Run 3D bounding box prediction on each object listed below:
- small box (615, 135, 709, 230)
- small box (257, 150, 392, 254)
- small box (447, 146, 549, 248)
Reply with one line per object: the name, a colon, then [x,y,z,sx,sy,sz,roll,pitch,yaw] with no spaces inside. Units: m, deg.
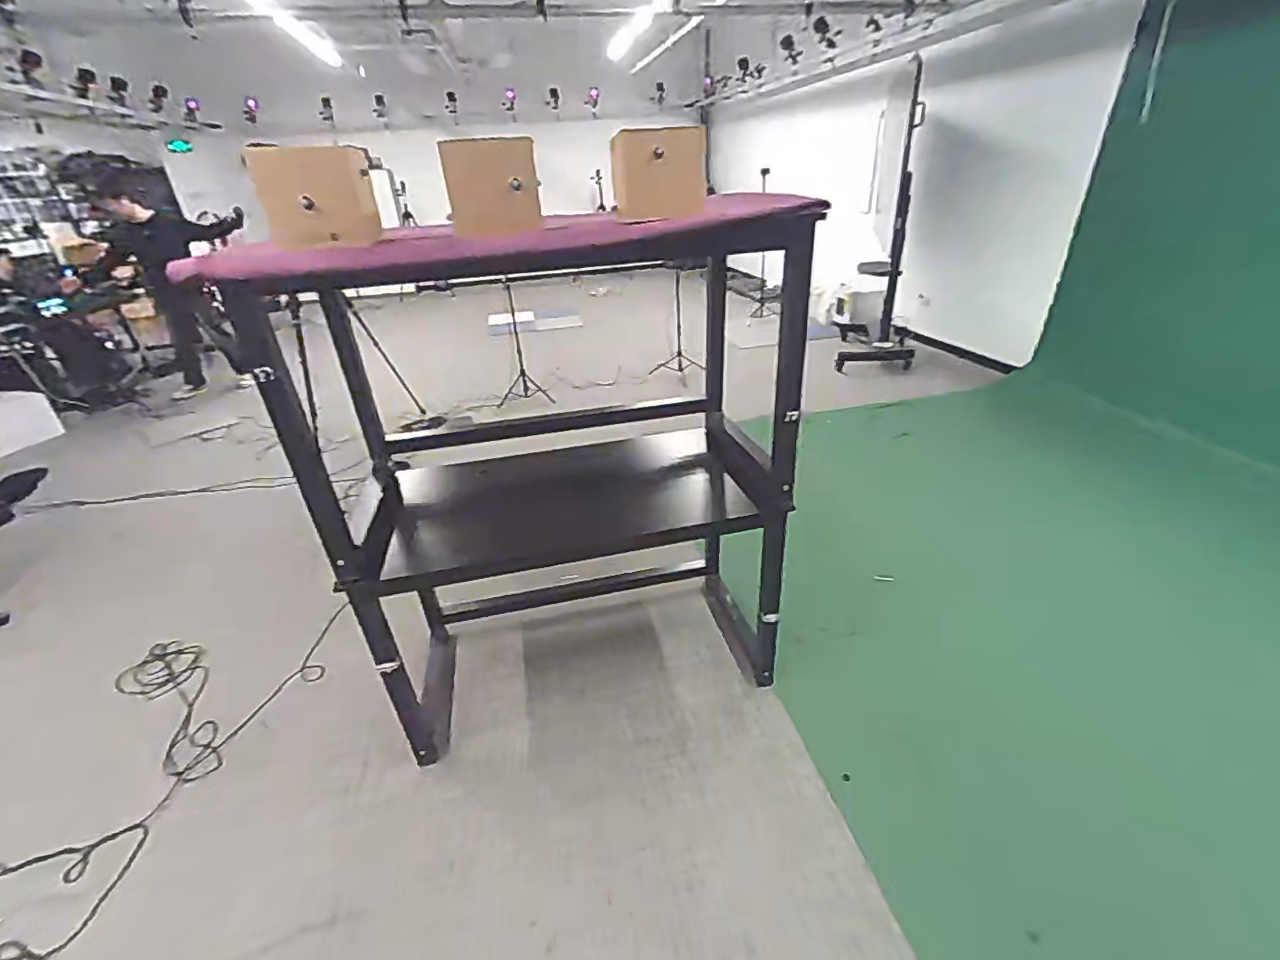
small box: [0.047,-0.649,1.195,0.179,0.176,0.168,-8,27,-9]
small box: [-0.598,-0.537,1.053,0.168,0.176,0.179,-8,29,-11]
small box: [-0.287,-0.584,1.117,0.179,0.176,0.168,-10,29,-10]
